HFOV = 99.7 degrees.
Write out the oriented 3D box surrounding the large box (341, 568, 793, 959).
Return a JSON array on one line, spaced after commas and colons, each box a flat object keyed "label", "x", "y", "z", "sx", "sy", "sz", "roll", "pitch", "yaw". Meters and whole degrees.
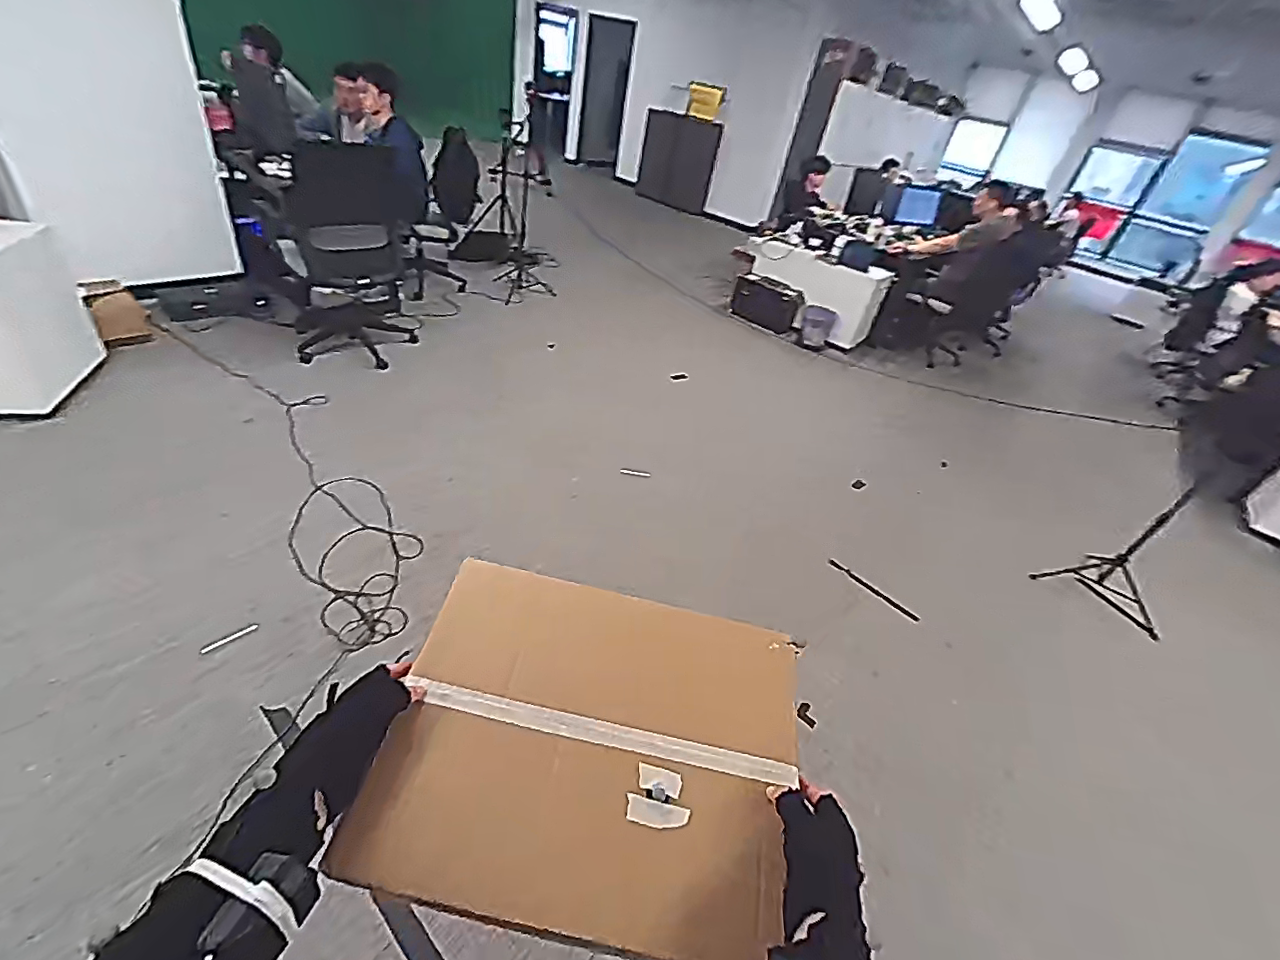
[{"label": "large box", "x": -0.064, "y": 0.355, "z": 0.666, "sx": 0.408, "sy": 0.320, "sz": 0.320, "roll": 14, "pitch": 49, "yaw": 0}]
